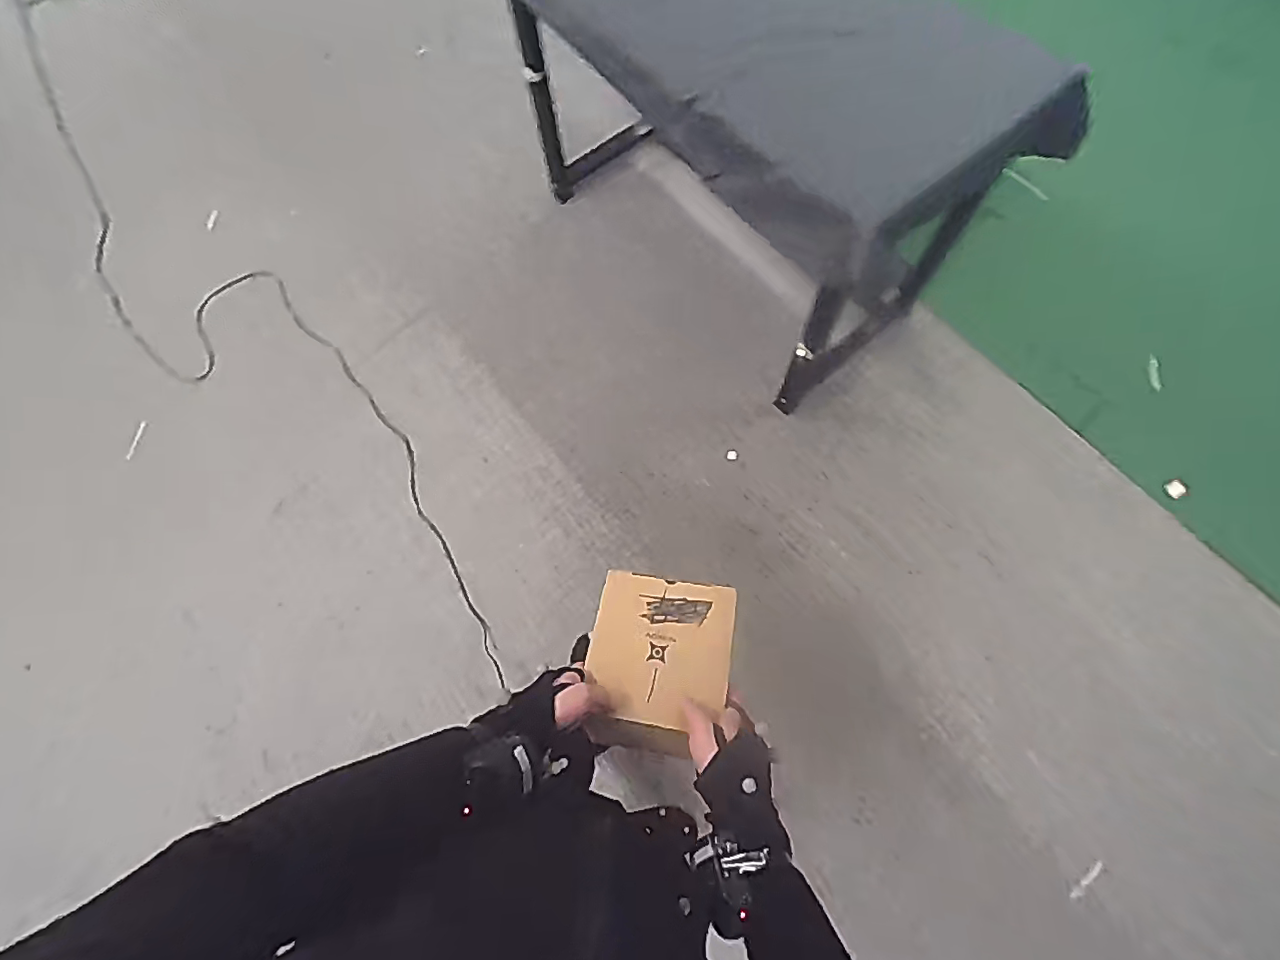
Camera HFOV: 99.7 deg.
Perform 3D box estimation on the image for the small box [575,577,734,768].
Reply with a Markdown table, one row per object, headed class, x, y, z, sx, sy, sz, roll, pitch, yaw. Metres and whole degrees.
| class | x | y | z | sx | sy | sz | roll | pitch | yaw |
| --- | --- | --- | --- | --- | --- | --- | --- | --- | --- |
| small box | 0.026 | 0.251 | 0.700 | 0.168 | 0.176 | 0.179 | 6 | 55 | 9 |
